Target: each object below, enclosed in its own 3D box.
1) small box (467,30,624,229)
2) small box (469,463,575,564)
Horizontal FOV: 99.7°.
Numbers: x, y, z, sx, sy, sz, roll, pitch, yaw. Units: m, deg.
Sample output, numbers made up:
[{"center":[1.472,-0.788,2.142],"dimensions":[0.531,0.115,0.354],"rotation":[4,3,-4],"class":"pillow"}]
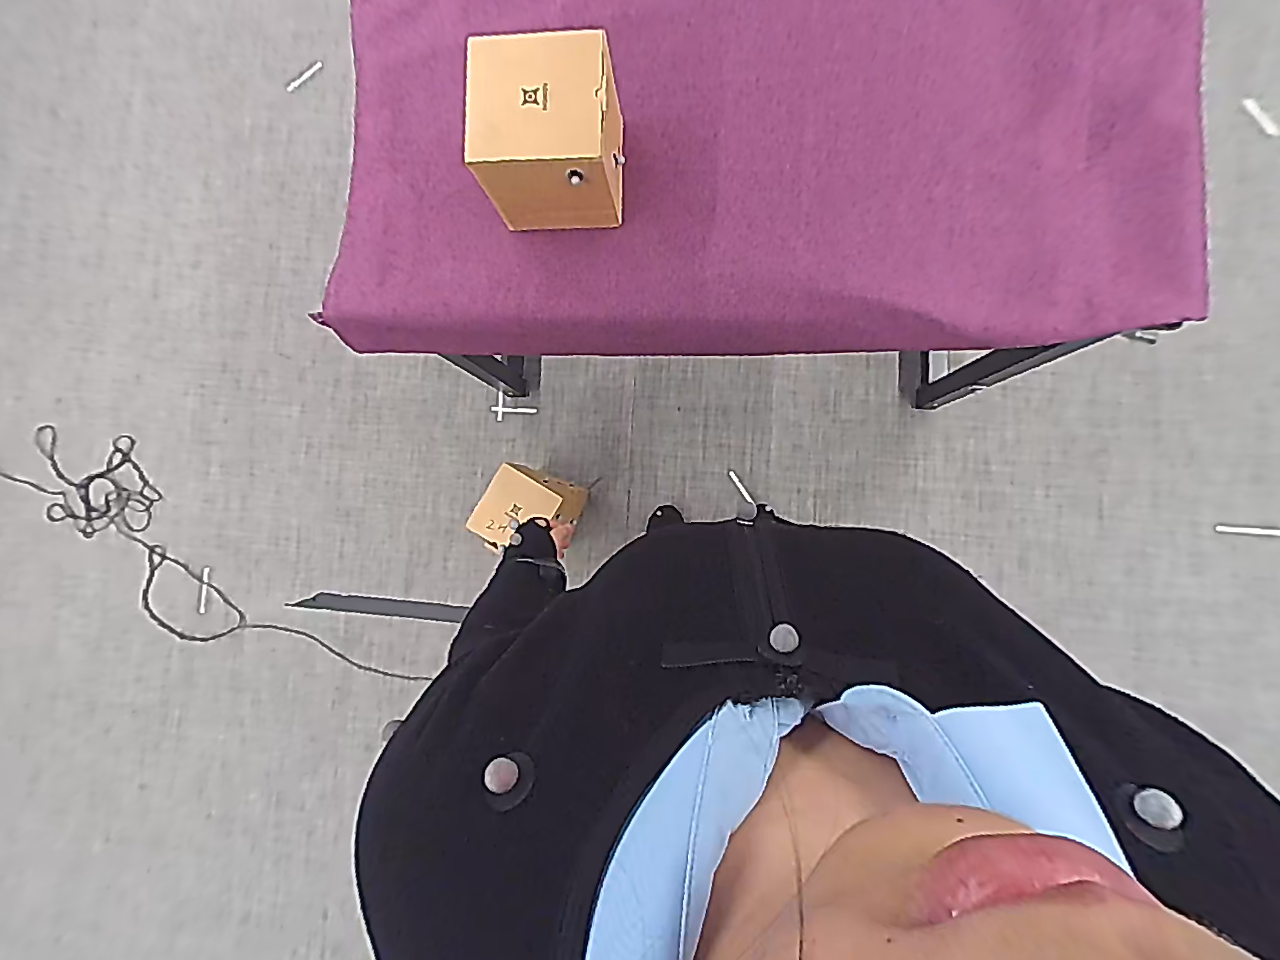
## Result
[{"center":[-0.120,-0.467,0.745],"dimensions":[0.179,0.176,0.168],"rotation":[0,87,4],"class":"small box"},{"center":[-0.271,0.078,1.298],"dimensions":[0.168,0.176,0.179],"rotation":[31,91,6],"class":"small box"}]
